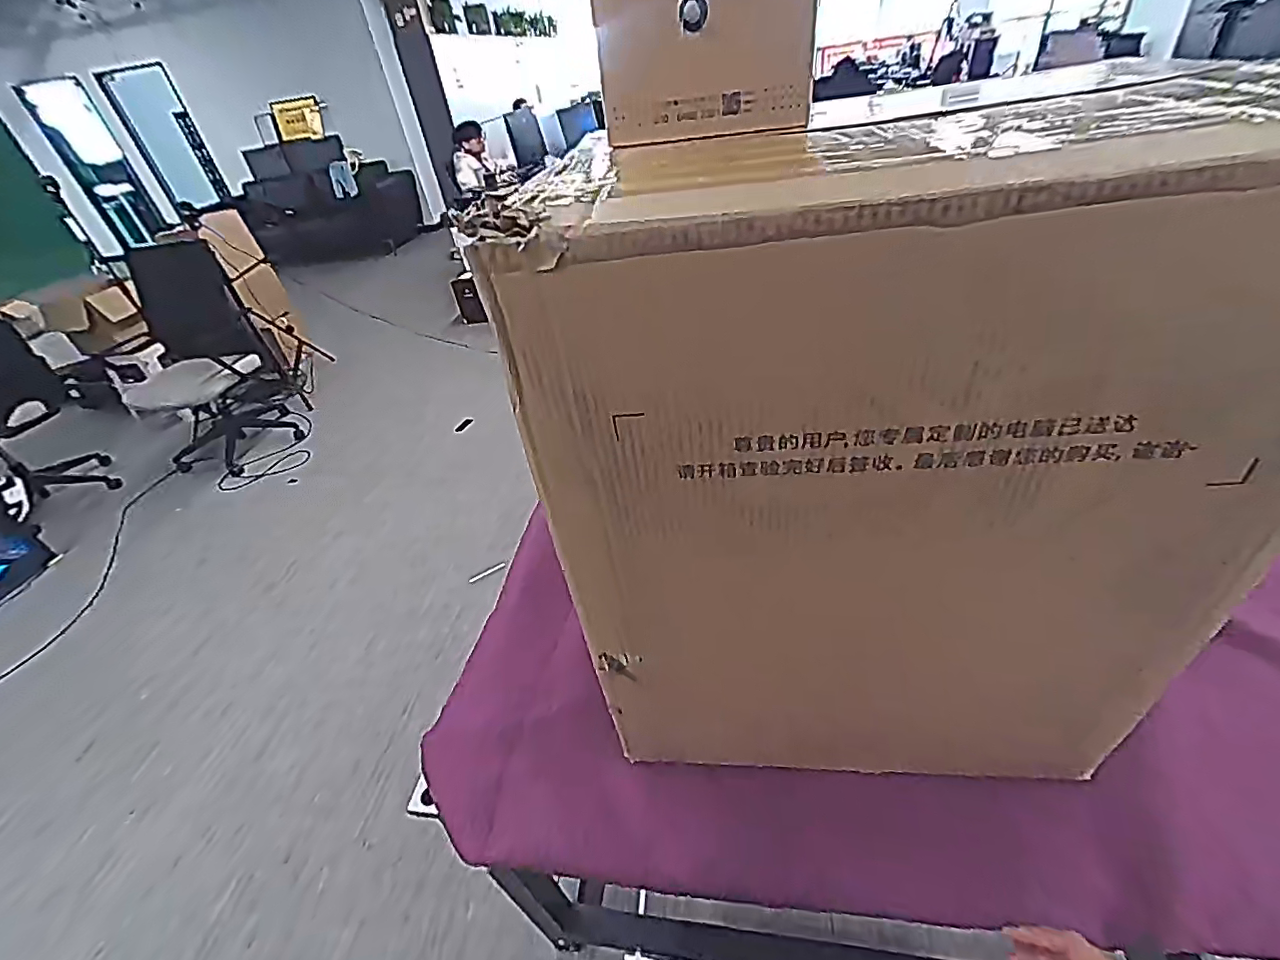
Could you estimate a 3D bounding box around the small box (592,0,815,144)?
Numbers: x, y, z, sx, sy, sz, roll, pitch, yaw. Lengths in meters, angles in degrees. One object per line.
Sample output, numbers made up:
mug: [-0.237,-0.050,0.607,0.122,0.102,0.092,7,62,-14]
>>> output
small box: [0.059,-0.395,0.459,0.168,0.176,0.179,1,38,11]
